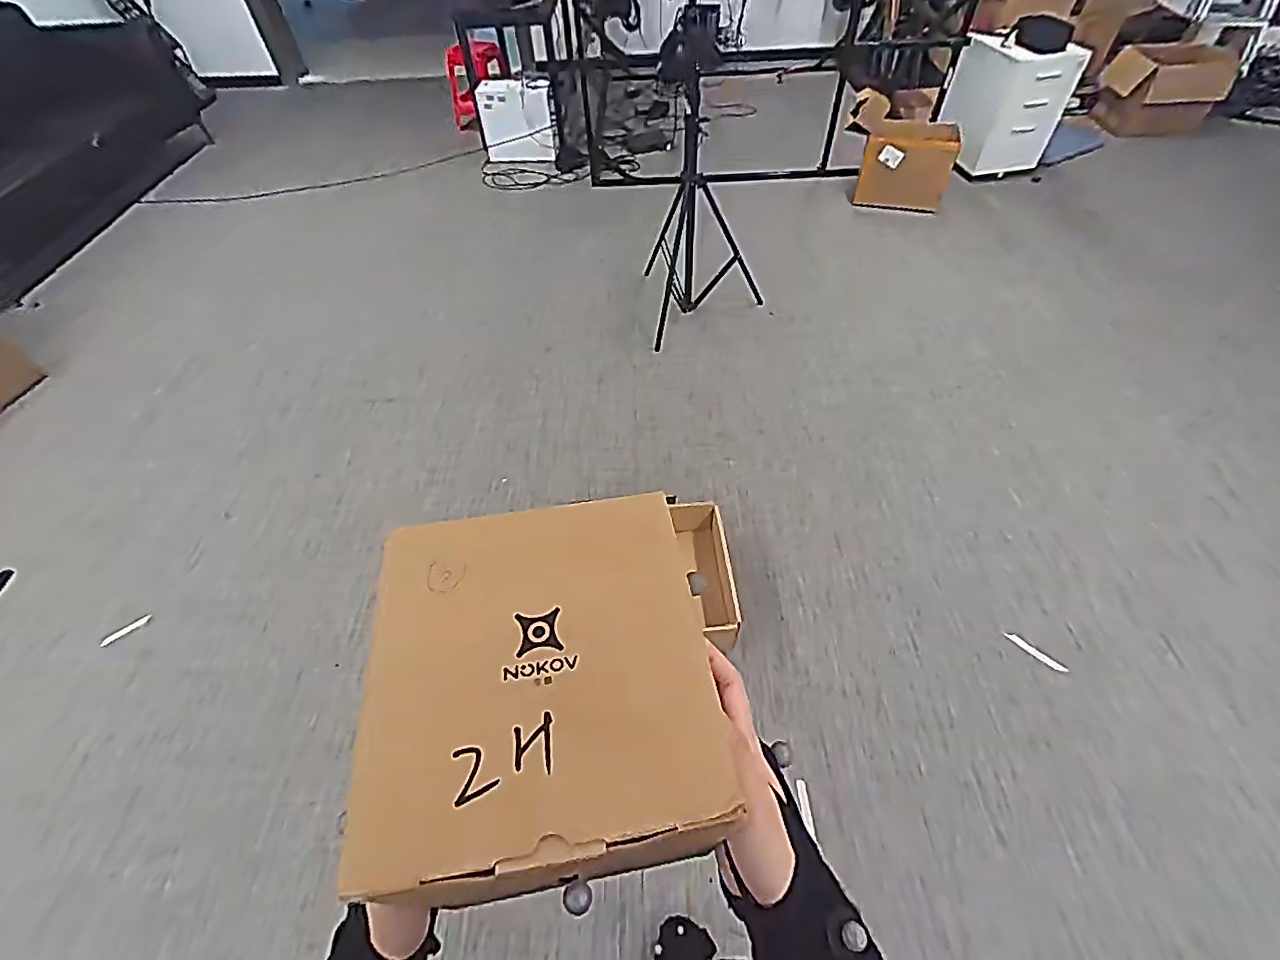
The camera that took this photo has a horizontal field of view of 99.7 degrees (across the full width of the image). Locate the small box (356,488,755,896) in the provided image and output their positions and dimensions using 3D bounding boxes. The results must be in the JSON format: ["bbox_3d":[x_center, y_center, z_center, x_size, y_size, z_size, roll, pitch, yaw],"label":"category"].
[{"bbox_3d":[-0.046,0.131,0.333,0.168,0.176,0.179,-8,52,-6],"label":"small box"}]
